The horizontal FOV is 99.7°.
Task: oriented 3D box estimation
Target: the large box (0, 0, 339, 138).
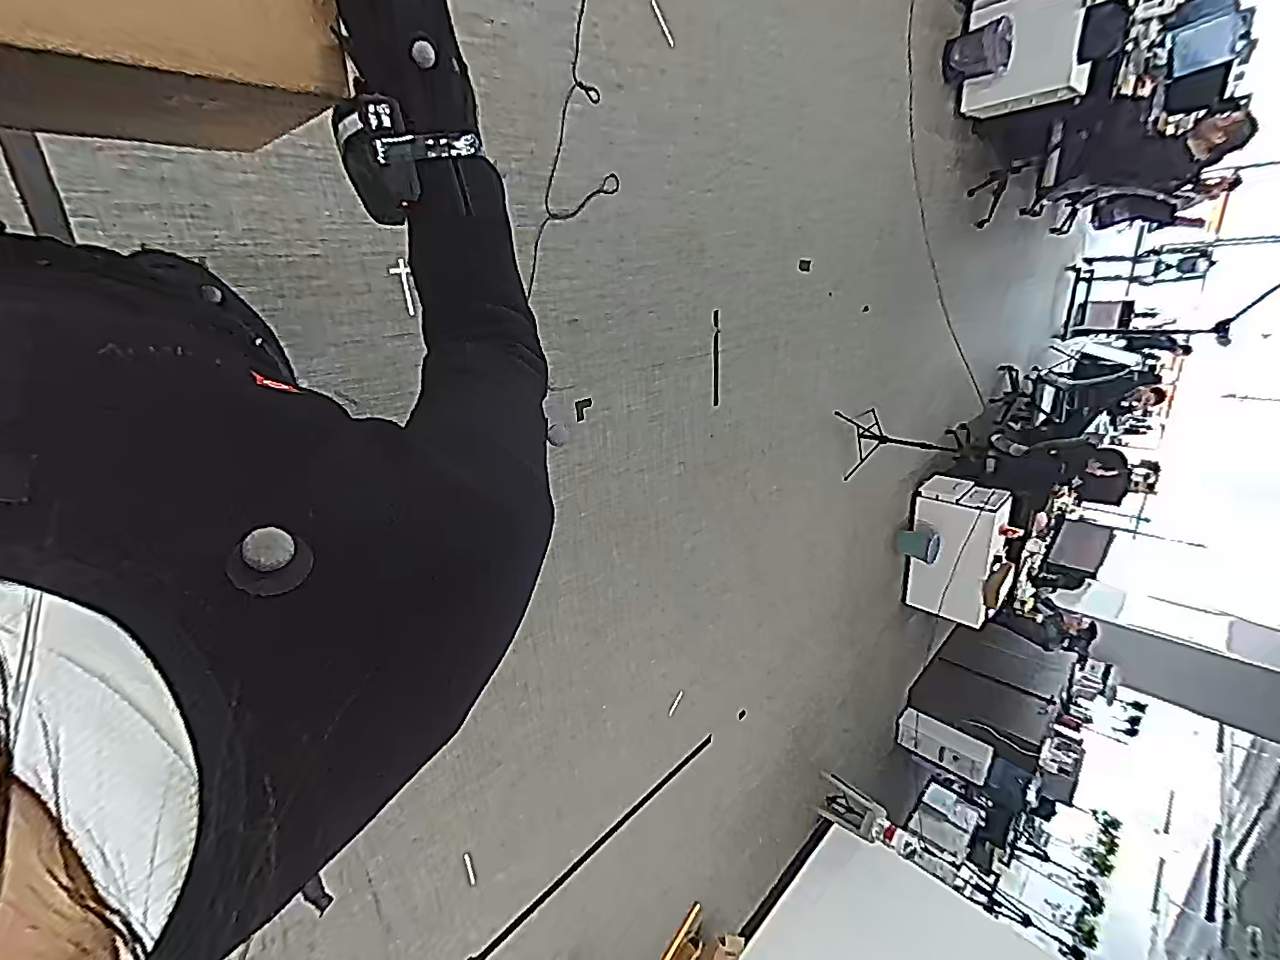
[{"bbox_3d":[-0.438,-0.380,0.259,0.408,0.320,0.320,-21,123,-39],"label":"large box"}]
